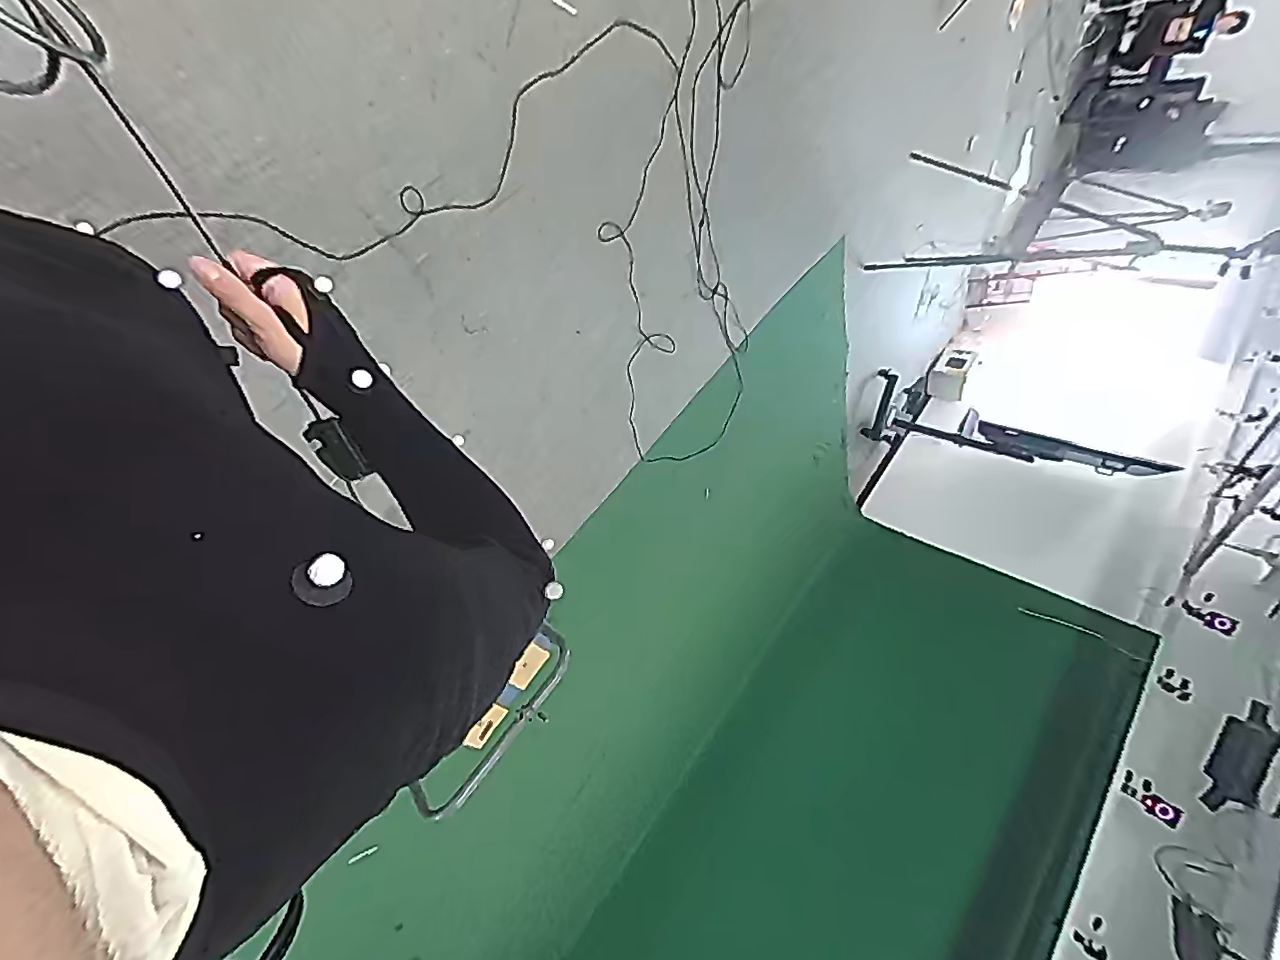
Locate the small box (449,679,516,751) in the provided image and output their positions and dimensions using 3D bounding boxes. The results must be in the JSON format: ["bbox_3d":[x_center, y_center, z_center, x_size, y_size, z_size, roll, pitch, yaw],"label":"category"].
[{"bbox_3d":[-0.604,0.874,2.016,0.168,0.176,0.179,-53,140,-17],"label":"small box"}]

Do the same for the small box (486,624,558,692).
[{"bbox_3d":[-0.458,0.681,2.087,0.168,0.176,0.179,-52,141,-16],"label":"small box"}]
